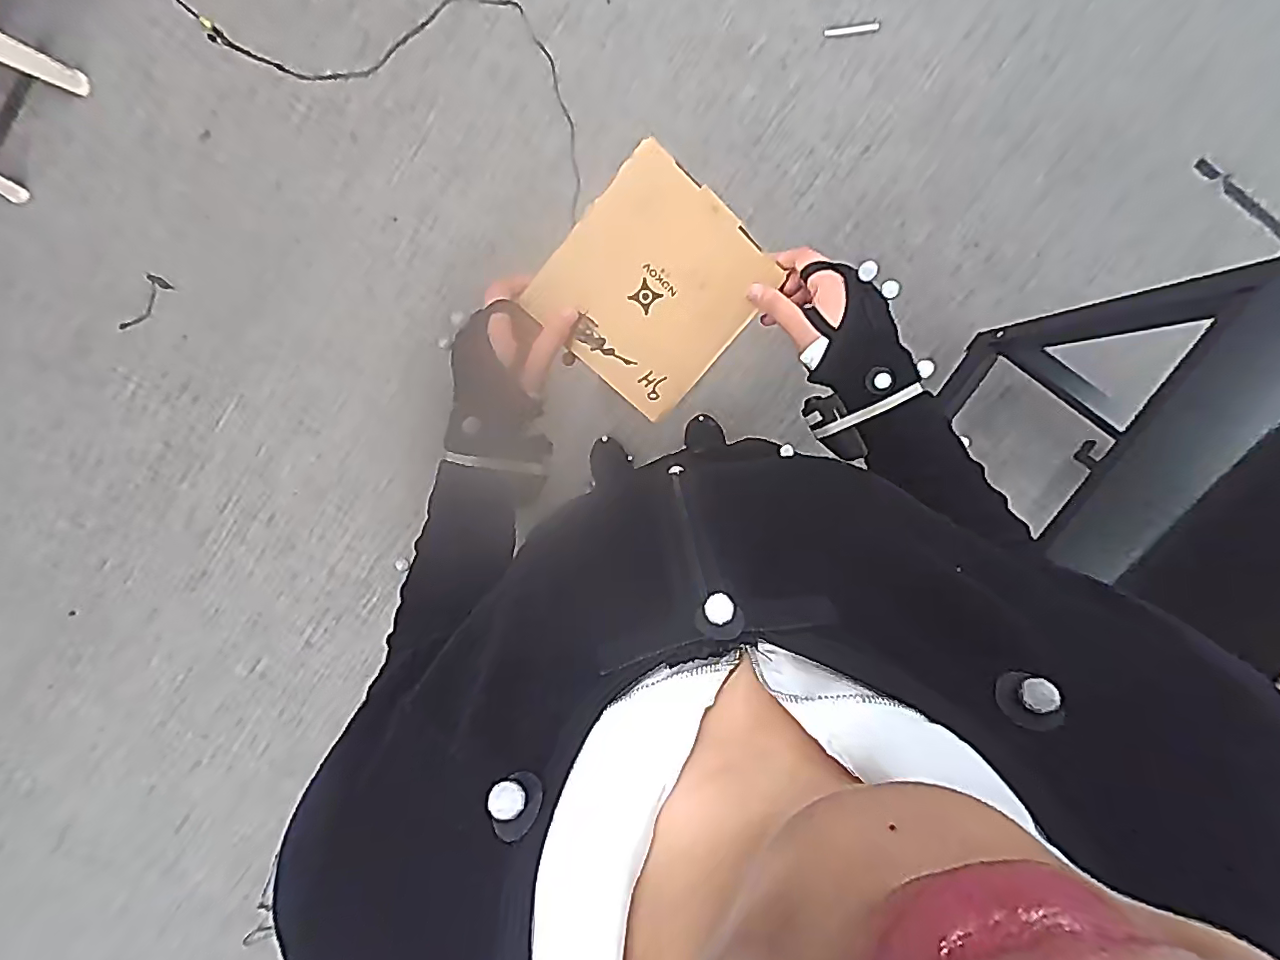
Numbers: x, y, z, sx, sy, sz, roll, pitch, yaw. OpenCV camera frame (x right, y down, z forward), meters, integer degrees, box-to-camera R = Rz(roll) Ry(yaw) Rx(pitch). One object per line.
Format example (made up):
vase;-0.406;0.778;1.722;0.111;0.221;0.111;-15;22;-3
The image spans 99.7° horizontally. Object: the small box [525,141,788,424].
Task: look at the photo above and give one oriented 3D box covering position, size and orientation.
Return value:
small box;0.010;-0.184;0.543;0.168;0.176;0.179;39;101;-11
